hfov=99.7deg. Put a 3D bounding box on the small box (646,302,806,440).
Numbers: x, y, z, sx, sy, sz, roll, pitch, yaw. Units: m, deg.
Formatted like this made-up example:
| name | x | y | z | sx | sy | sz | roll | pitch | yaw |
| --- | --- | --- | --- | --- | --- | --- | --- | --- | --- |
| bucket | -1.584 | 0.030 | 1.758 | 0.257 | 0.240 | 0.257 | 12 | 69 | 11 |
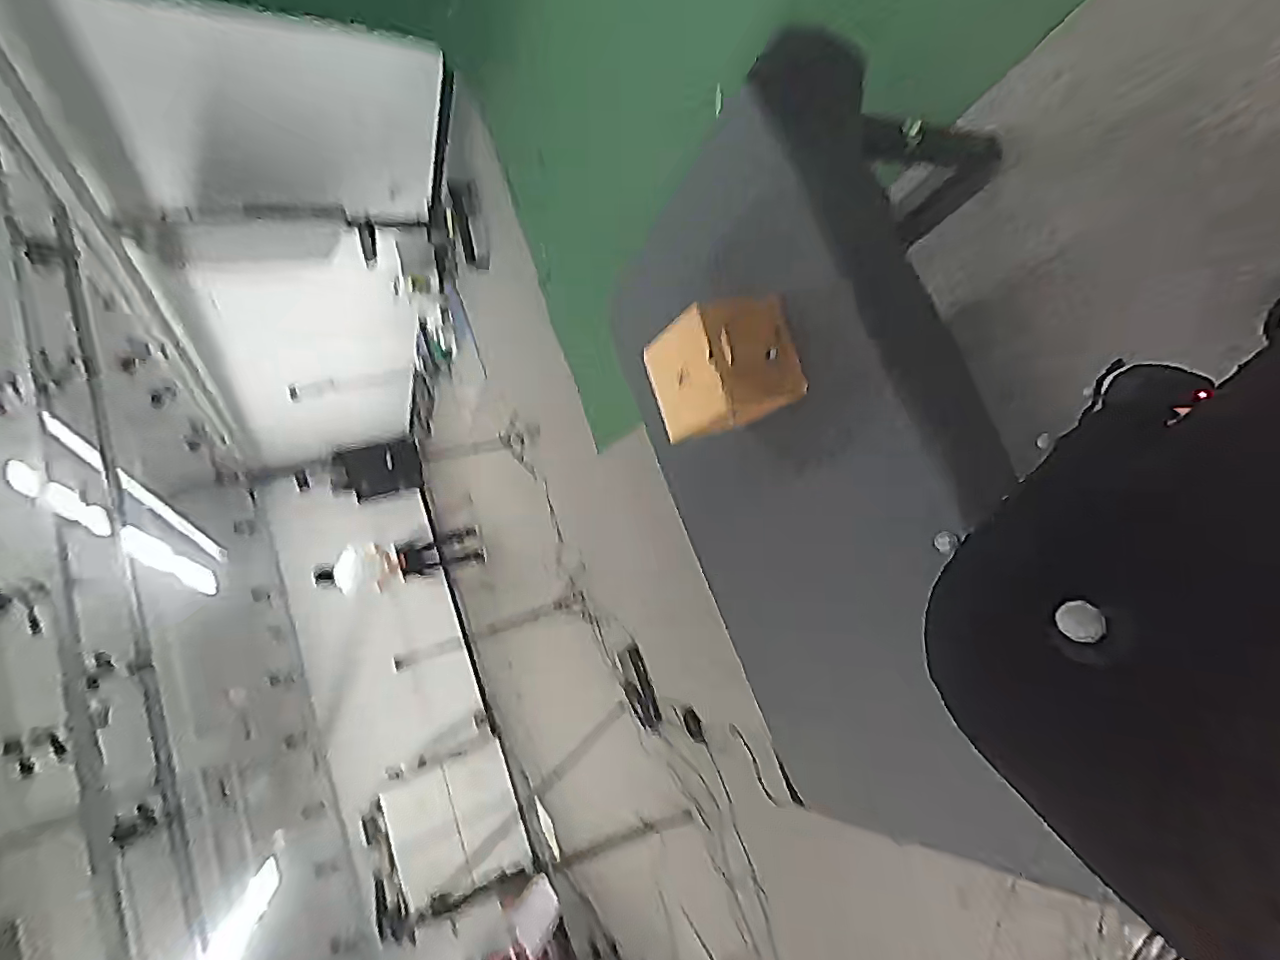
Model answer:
| name | x | y | z | sx | sy | sz | roll | pitch | yaw |
| --- | --- | --- | --- | --- | --- | --- | --- | --- | --- |
| small box | 0.140 | -0.179 | 0.900 | 0.179 | 0.176 | 0.168 | -27 | 79 | 60 |
